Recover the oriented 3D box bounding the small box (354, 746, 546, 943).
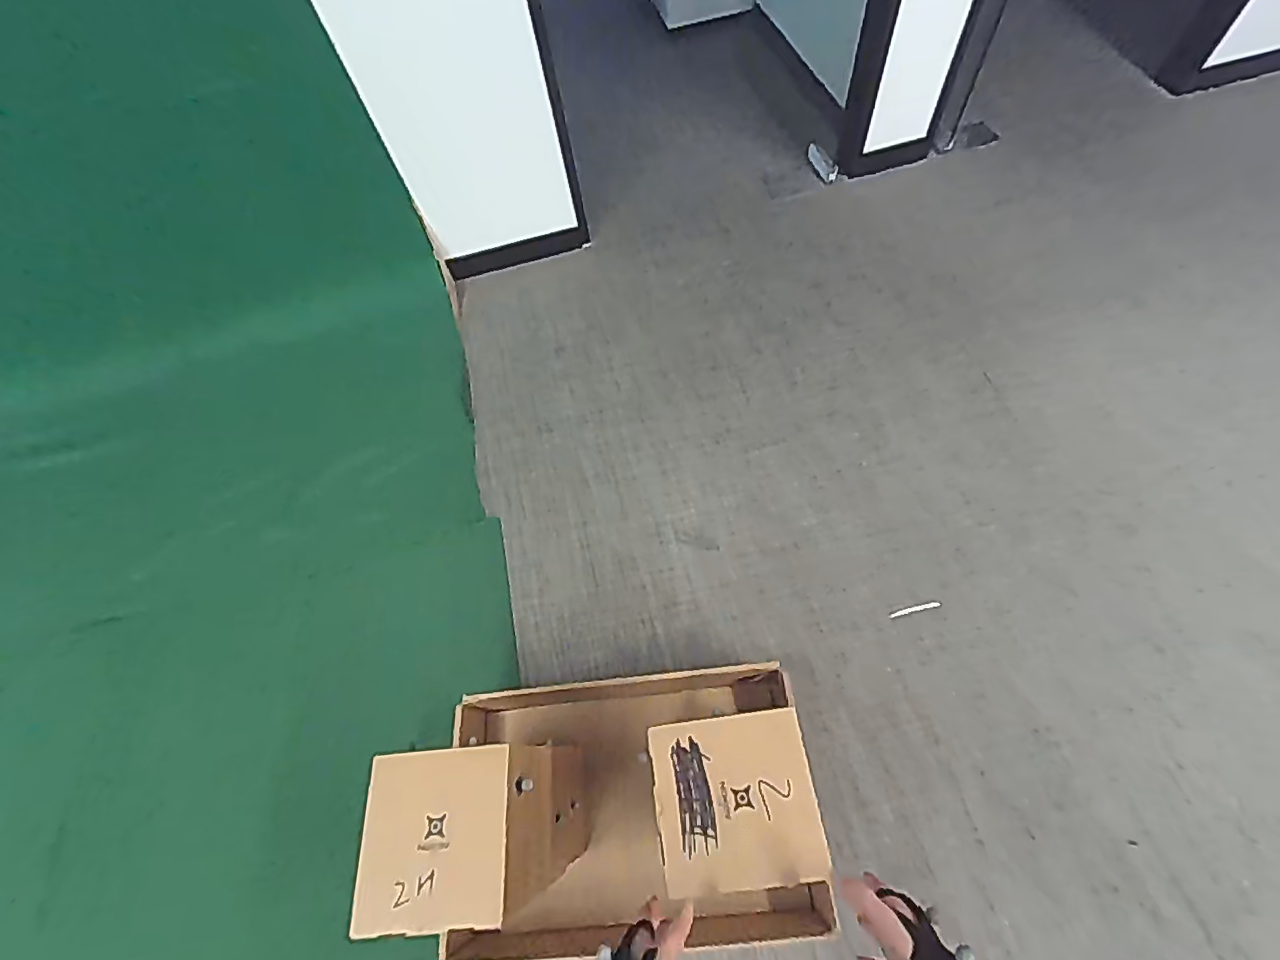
[{"bbox_3d":[-0.216,0.434,0.668,0.168,0.176,0.179,-6,63,3],"label":"small box"}]

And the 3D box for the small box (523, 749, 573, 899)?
[{"bbox_3d":[-0.198,0.508,0.814,0.168,0.176,0.179,-4,63,3],"label":"small box"}]

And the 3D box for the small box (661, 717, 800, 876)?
[{"bbox_3d":[0.124,0.461,0.801,0.168,0.176,0.179,-8,62,3],"label":"small box"}]
